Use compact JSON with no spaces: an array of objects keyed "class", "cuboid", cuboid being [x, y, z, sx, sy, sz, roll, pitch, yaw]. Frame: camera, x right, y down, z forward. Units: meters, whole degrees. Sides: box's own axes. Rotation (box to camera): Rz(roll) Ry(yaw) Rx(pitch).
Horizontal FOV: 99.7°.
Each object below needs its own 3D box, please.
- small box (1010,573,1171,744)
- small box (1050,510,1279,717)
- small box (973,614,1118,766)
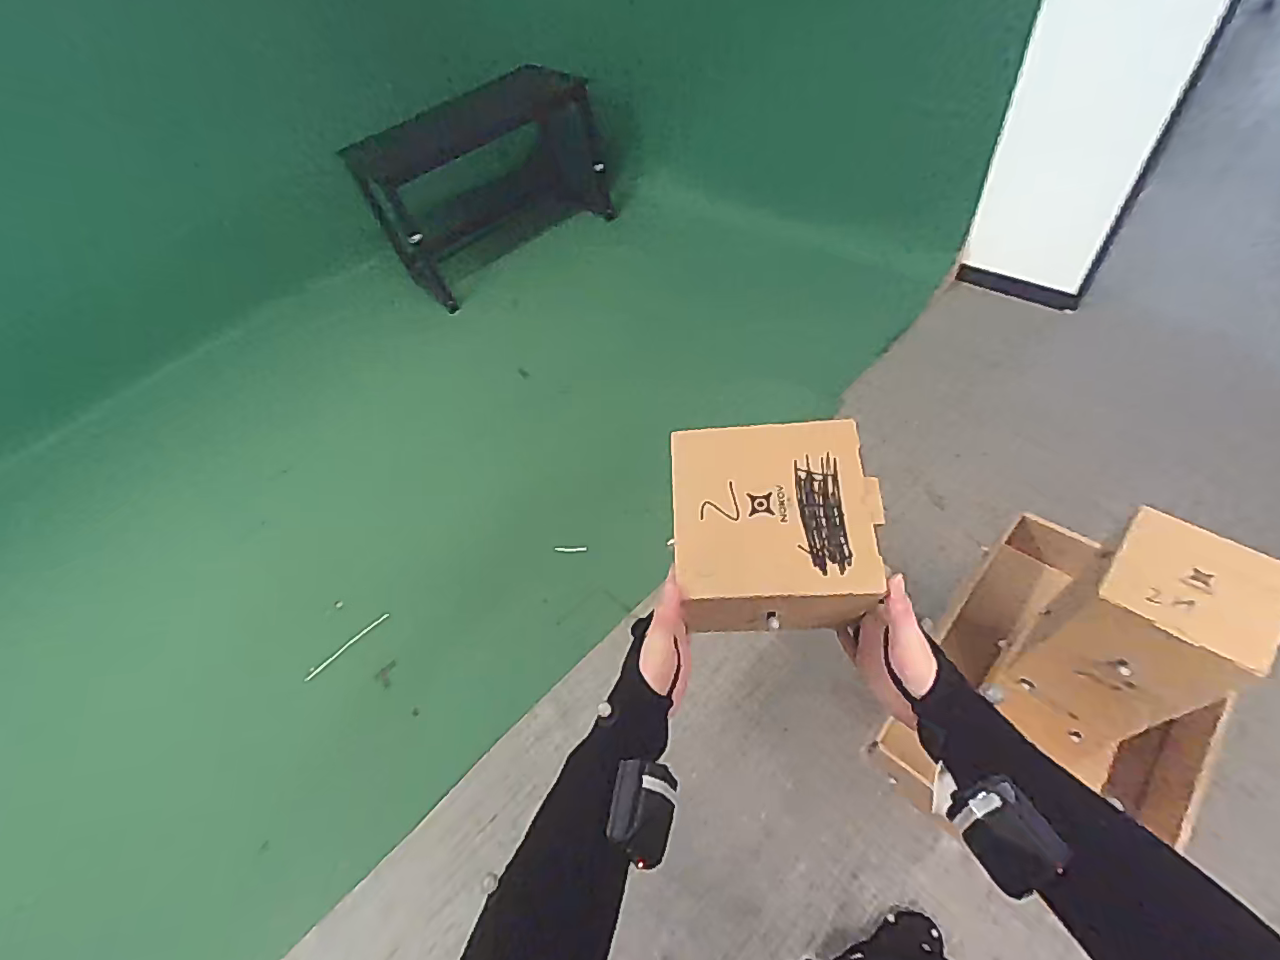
[{"class":"small box","cuboid":[0.729,0.282,0.858,0.179,0.176,0.168,-40,56,-21]},{"class":"small box","cuboid":[0.701,0.181,0.730,0.168,0.176,0.179,34,65,31]},{"class":"small box","cuboid":[0.748,0.385,0.984,0.179,0.176,0.168,34,64,31]}]
